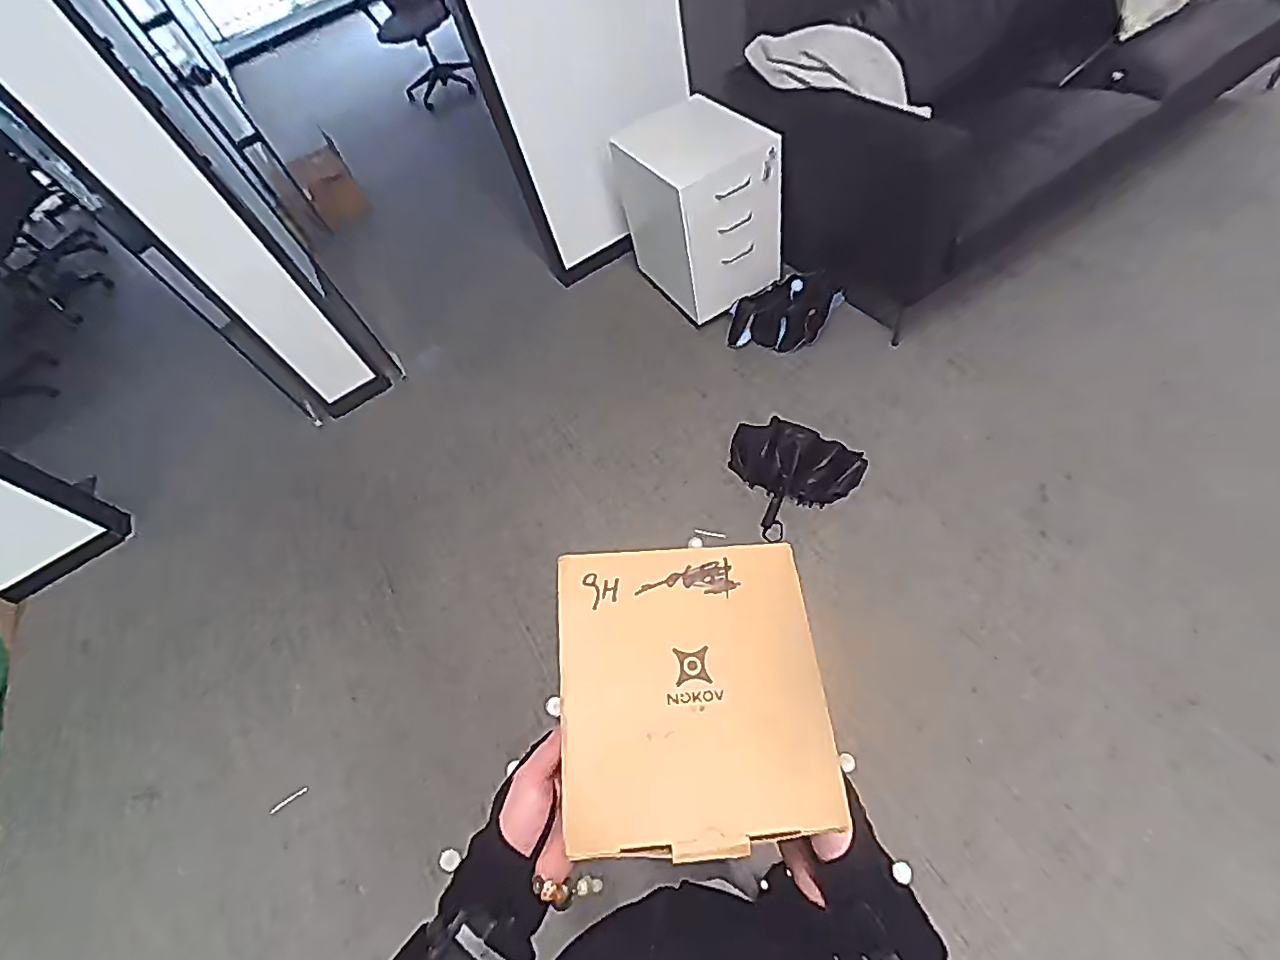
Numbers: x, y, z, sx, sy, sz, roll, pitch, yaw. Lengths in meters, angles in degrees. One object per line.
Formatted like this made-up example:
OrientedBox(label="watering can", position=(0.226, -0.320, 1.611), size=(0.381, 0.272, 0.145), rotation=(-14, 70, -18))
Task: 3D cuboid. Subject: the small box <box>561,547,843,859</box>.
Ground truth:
OrientedBox(label="small box", position=(0.027, 0.162, 0.413), size=(0.168, 0.176, 0.179), rotation=(-2, 65, -6))
